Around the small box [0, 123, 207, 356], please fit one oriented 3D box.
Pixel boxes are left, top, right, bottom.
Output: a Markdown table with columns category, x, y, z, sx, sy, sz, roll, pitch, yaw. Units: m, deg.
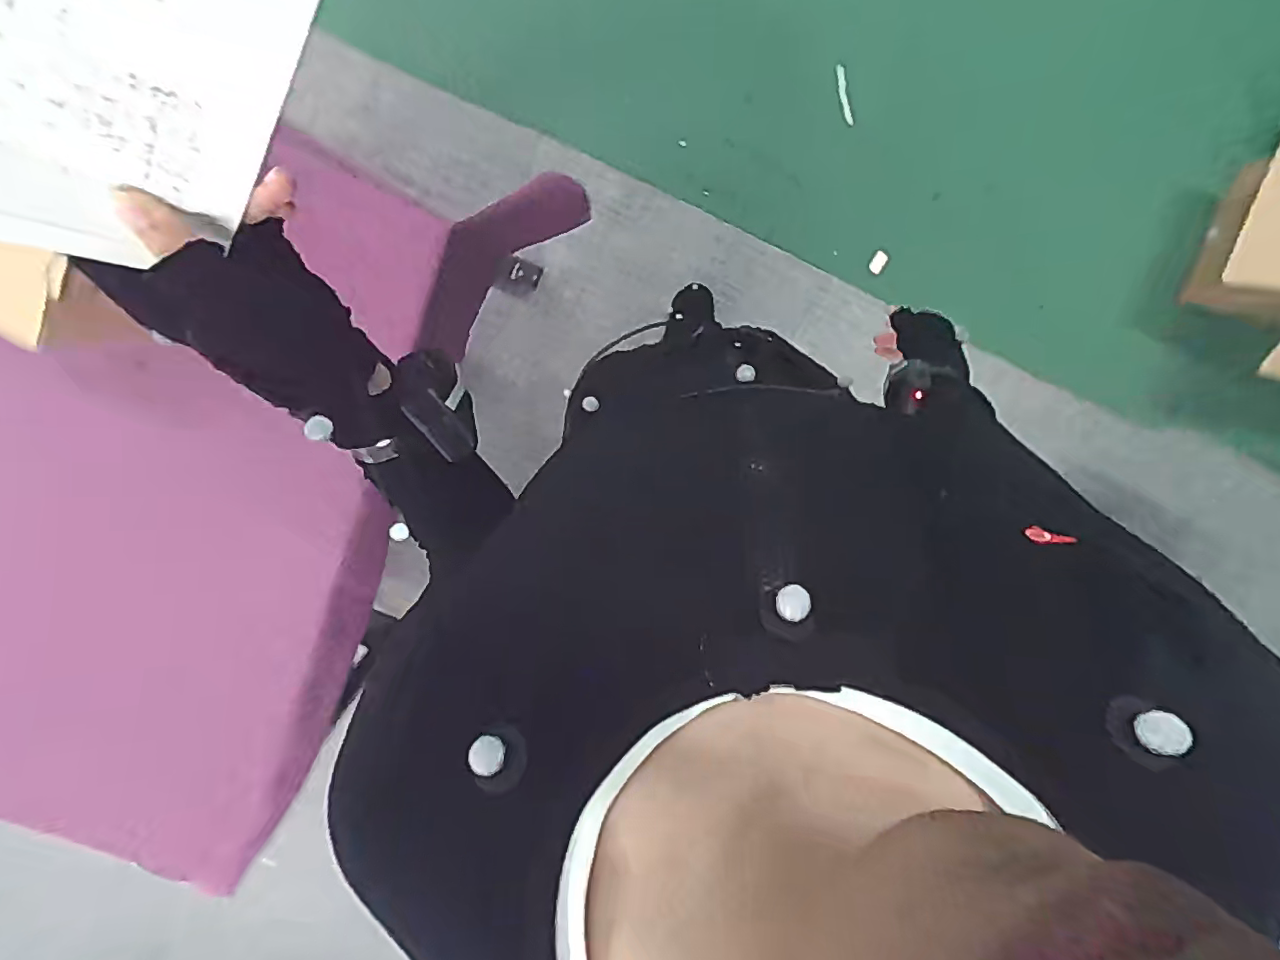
| category | x | y | z | sx | sy | sz | roll | pitch | yaw |
| --- | --- | --- | --- | --- | --- | --- | --- | --- | --- |
| small box | -0.612 | -0.252 | 0.563 | 0.179 | 0.176 | 0.168 | 30 | 105 | -9 |
